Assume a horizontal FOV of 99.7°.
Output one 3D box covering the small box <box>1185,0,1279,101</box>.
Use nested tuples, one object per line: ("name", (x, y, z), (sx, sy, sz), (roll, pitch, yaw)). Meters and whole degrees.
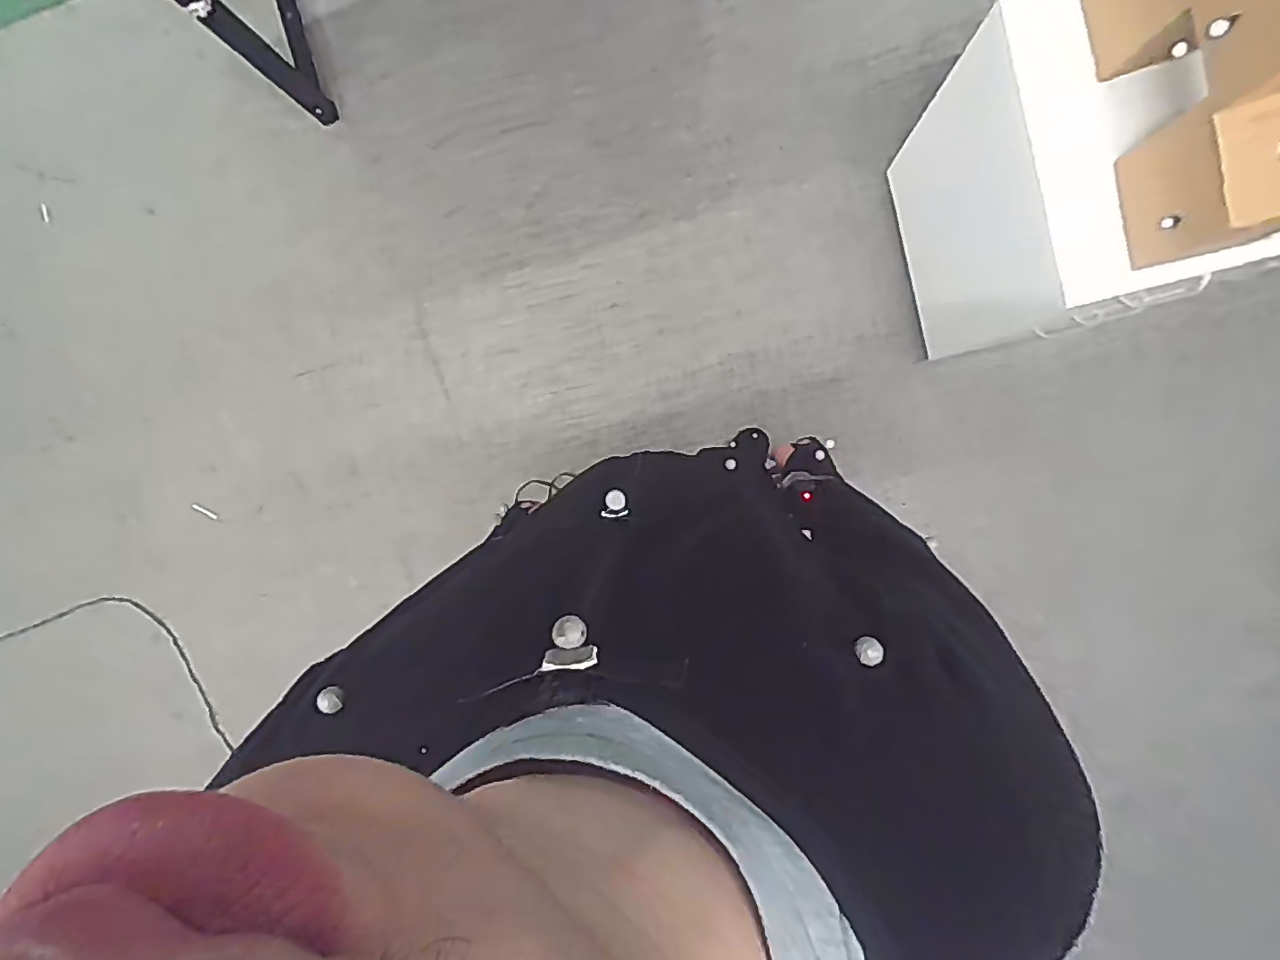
("small box", (0.764, -0.559, 0.591), (0.168, 0.176, 0.179), (-16, 93, 7))

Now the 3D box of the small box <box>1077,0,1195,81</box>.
("small box", (0.750, -0.711, 0.746), (0.168, 0.176, 0.179), (-15, 93, 8))

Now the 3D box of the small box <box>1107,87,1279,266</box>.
("small box", (0.815, -0.420, 0.759), (0.168, 0.176, 0.179), (-12, 90, 7))
